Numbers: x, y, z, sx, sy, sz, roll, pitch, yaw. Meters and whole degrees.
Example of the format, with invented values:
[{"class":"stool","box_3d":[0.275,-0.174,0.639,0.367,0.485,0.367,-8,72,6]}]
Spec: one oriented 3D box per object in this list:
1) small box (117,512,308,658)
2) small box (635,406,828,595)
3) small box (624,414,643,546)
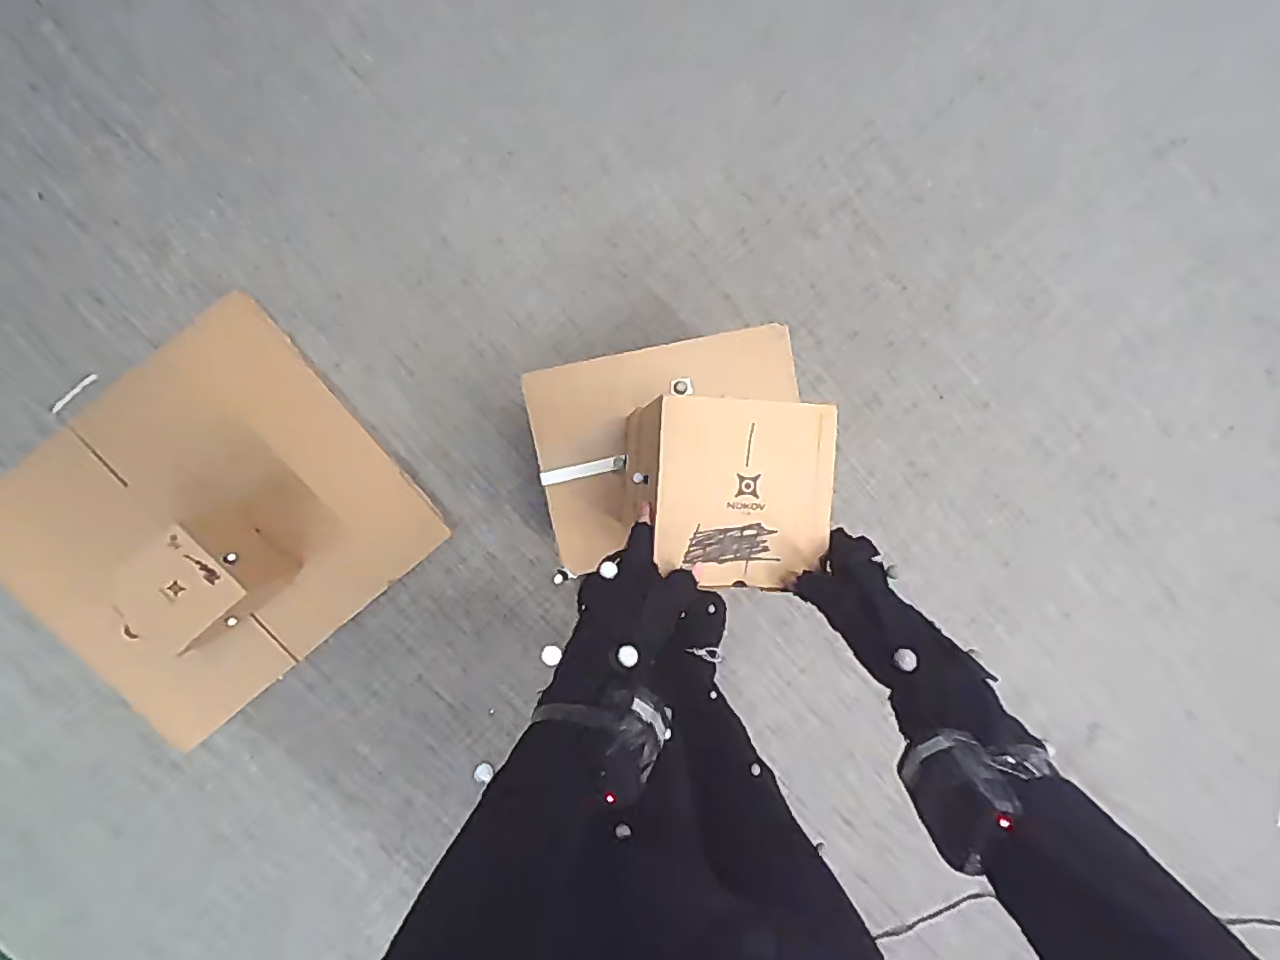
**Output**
[{"class":"small box","box_3d":[-0.756,0.179,0.979,0.179,0.176,0.168,-44,94,1]},{"class":"small box","box_3d":[0.085,0.013,0.578,0.168,0.176,0.179,0,94,-5]},{"class":"small box","box_3d":[0.073,0.000,0.742,0.179,0.176,0.168,3,92,-4]}]
